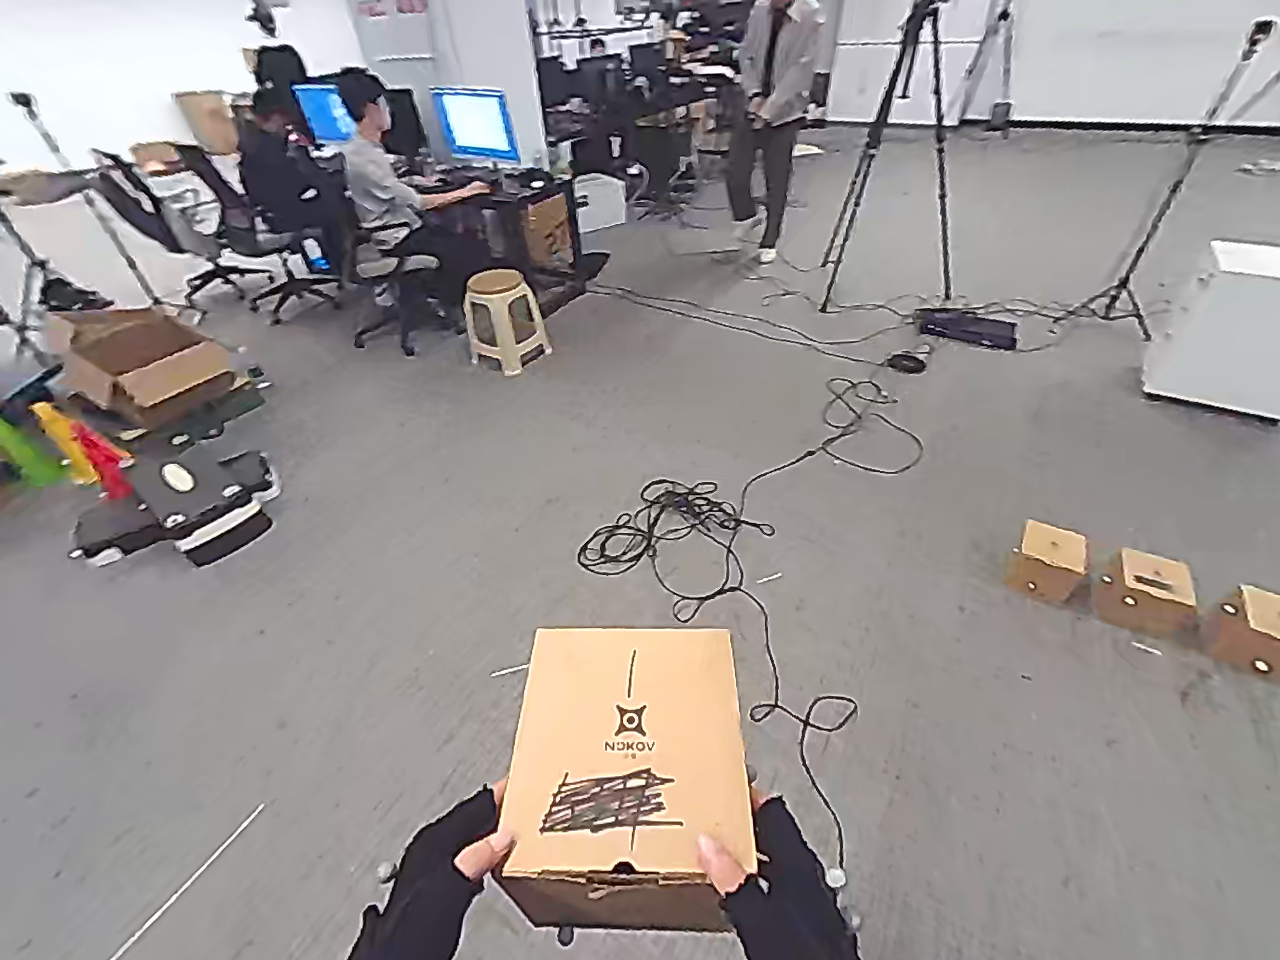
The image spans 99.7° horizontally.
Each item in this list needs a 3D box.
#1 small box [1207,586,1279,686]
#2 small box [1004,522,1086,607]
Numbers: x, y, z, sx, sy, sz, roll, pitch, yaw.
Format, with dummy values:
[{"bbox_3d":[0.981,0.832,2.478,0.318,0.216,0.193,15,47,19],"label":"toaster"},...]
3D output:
[{"bbox_3d":[1.755,0.440,1.522,0.168,0.176,0.179,20,47,26],"label":"small box"},{"bbox_3d":[1.307,0.274,1.751,0.168,0.176,0.179,20,47,26],"label":"small box"}]
